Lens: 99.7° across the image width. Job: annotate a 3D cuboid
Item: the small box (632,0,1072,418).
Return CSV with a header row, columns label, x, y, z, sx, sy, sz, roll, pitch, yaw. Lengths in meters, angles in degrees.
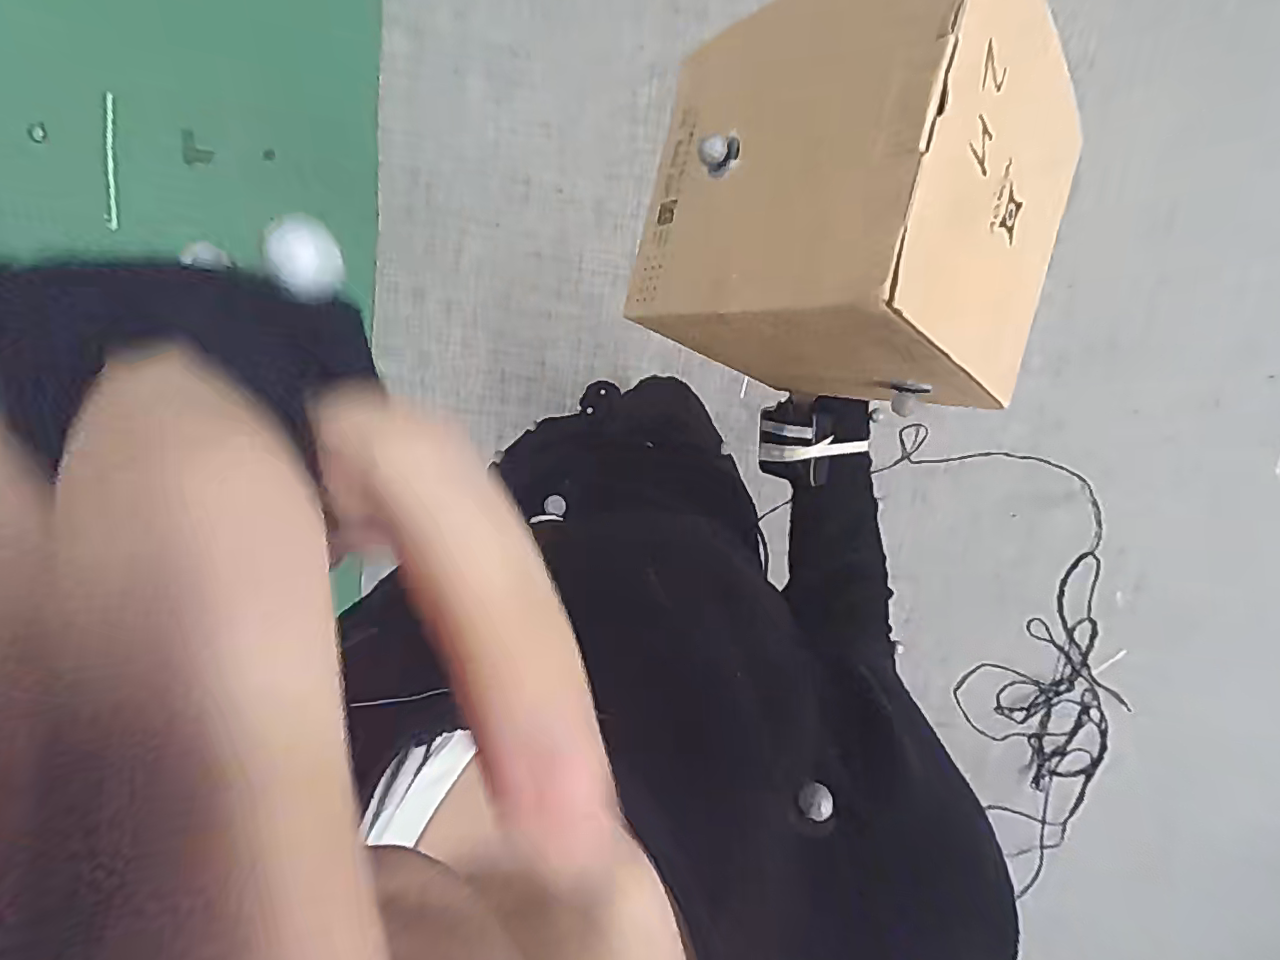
label,x,y,z,sx,sy,sz,roll,pitch,yaw
small box,0.126,-0.146,0.333,0.179,0.176,0.168,12,93,-42
